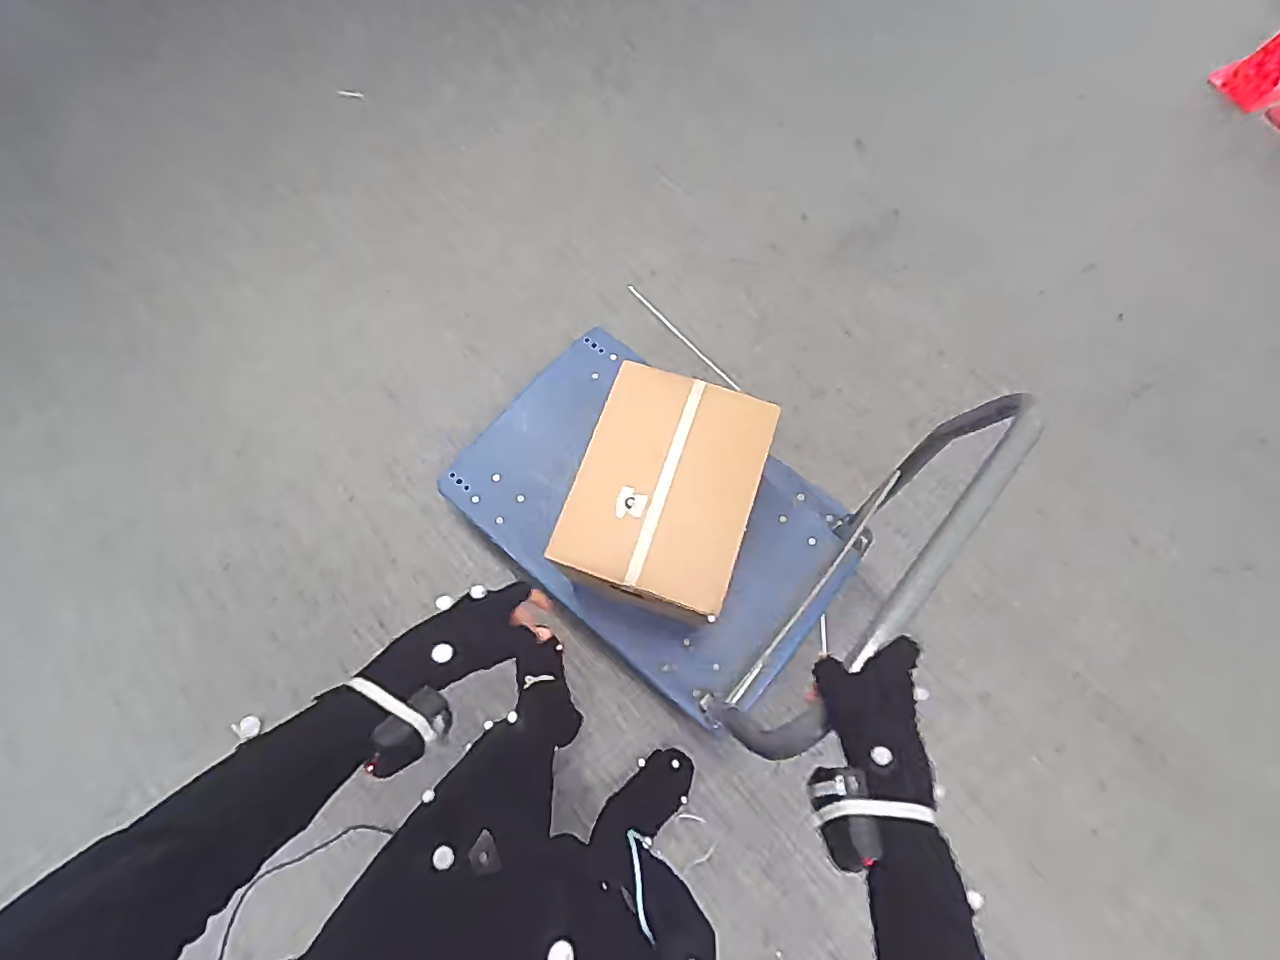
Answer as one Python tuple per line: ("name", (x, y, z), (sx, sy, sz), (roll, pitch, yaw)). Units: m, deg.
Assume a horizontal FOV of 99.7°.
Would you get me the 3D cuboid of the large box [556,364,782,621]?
("large box", (0.060, 0.042, 1.104), (0.320, 0.320, 0.408), (18, 75, 7))
